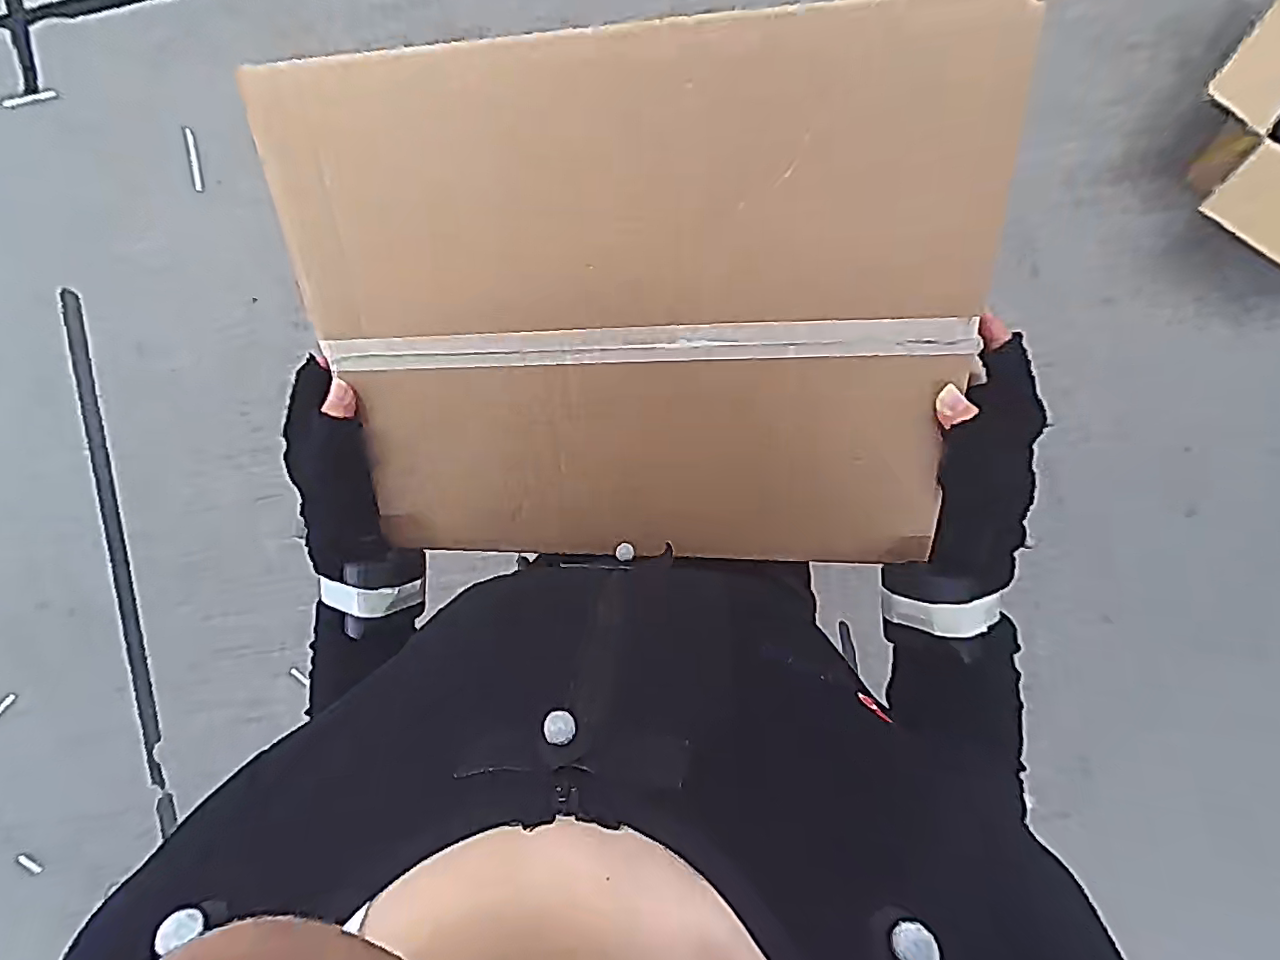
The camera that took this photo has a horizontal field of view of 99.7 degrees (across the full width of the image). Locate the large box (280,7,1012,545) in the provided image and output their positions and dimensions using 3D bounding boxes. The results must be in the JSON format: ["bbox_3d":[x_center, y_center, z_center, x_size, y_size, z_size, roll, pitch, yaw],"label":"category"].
[{"bbox_3d":[0.010,-0.154,0.483,0.408,0.320,0.320,0,118,8],"label":"large box"}]
